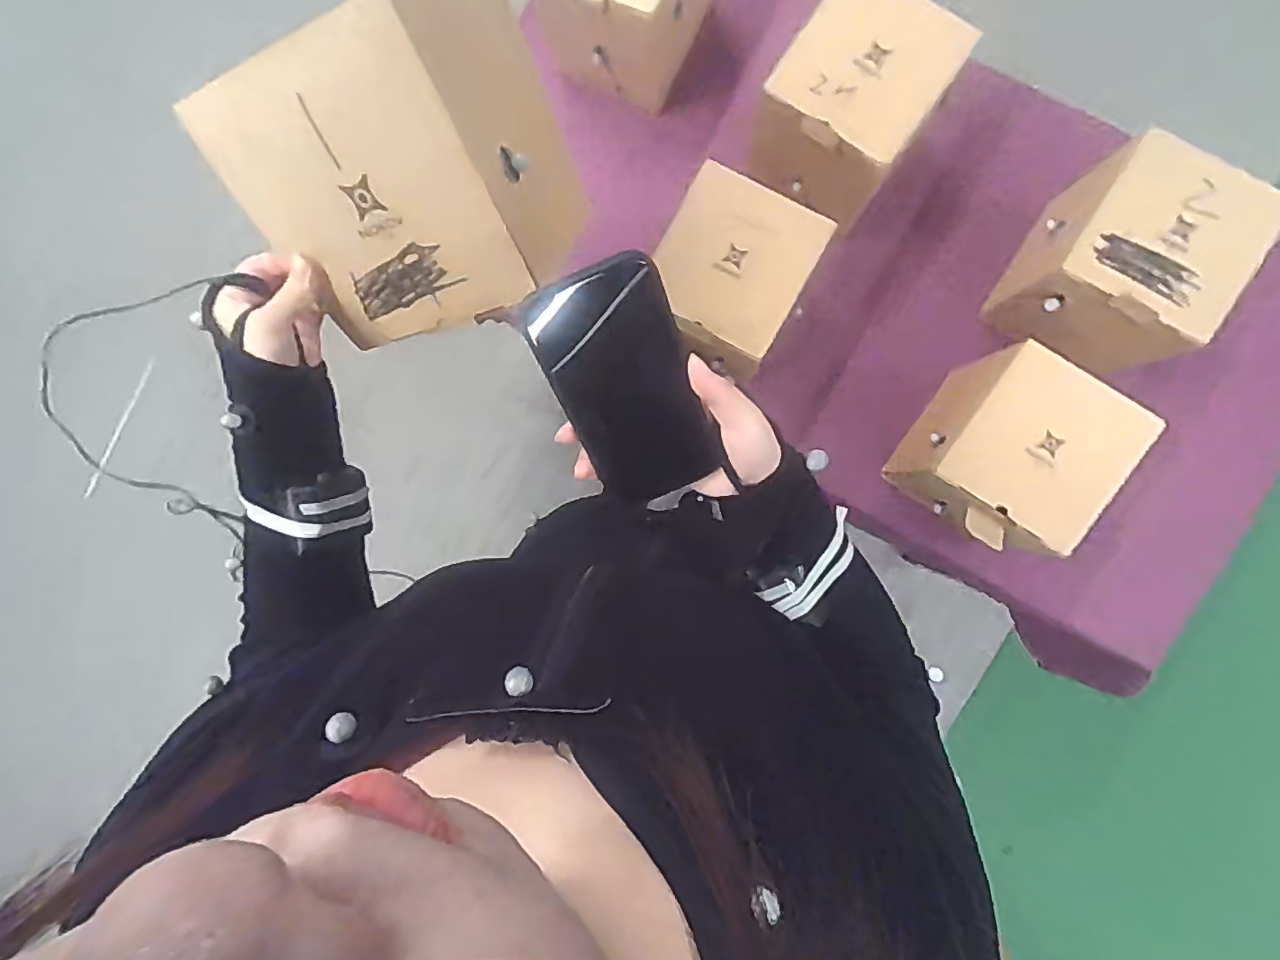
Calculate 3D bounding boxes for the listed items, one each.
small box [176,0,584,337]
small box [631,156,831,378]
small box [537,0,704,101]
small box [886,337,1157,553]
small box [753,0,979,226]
[{"bbox_3d":[-0.158,-0.238,0.399,0.168,0.179,0.176,-8,45,20],"label":"small box"},{"bbox_3d":[0.108,-0.249,0.682,0.168,0.176,0.179,30,92,4],"label":"small box"},{"bbox_3d":[-0.019,-0.636,0.687,0.168,0.176,0.179,26,94,4],"label":"small box"},{"bbox_3d":[0.434,-0.039,0.653,0.168,0.176,0.179,35,94,4],"label":"small box"},{"bbox_3d":[0.255,-0.459,0.664,0.168,0.176,0.179,37,94,4],"label":"small box"}]
